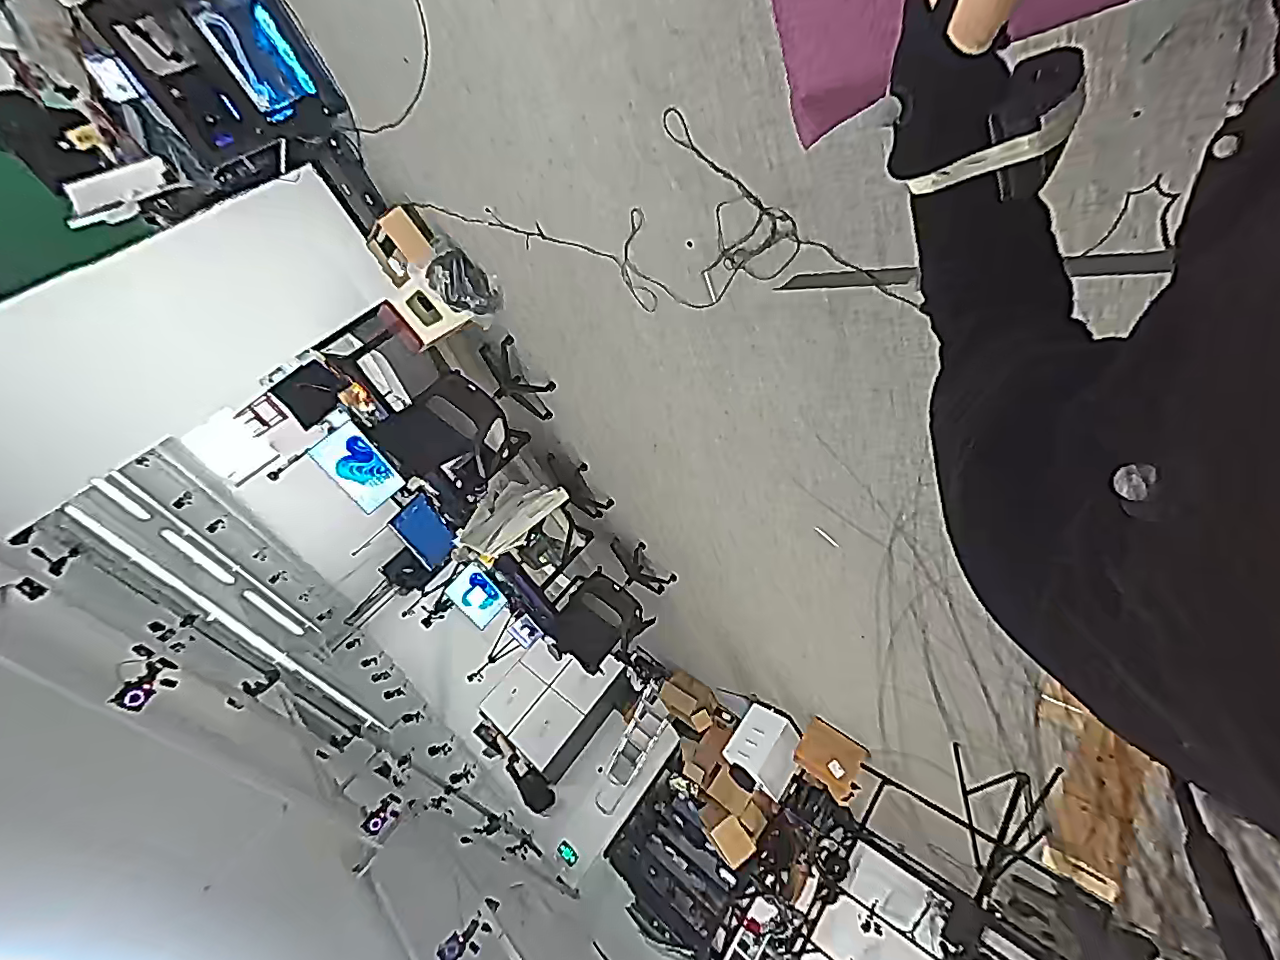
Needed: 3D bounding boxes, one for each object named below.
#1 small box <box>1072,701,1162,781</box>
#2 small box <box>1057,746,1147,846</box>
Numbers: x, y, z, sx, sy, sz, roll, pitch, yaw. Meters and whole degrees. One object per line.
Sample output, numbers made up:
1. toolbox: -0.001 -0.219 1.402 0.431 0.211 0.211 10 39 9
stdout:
1. small box: 1.482 0.823 1.681 0.168 0.176 0.179 21 148 40
2. small box: 1.383 0.939 1.619 0.168 0.176 0.179 19 145 43
